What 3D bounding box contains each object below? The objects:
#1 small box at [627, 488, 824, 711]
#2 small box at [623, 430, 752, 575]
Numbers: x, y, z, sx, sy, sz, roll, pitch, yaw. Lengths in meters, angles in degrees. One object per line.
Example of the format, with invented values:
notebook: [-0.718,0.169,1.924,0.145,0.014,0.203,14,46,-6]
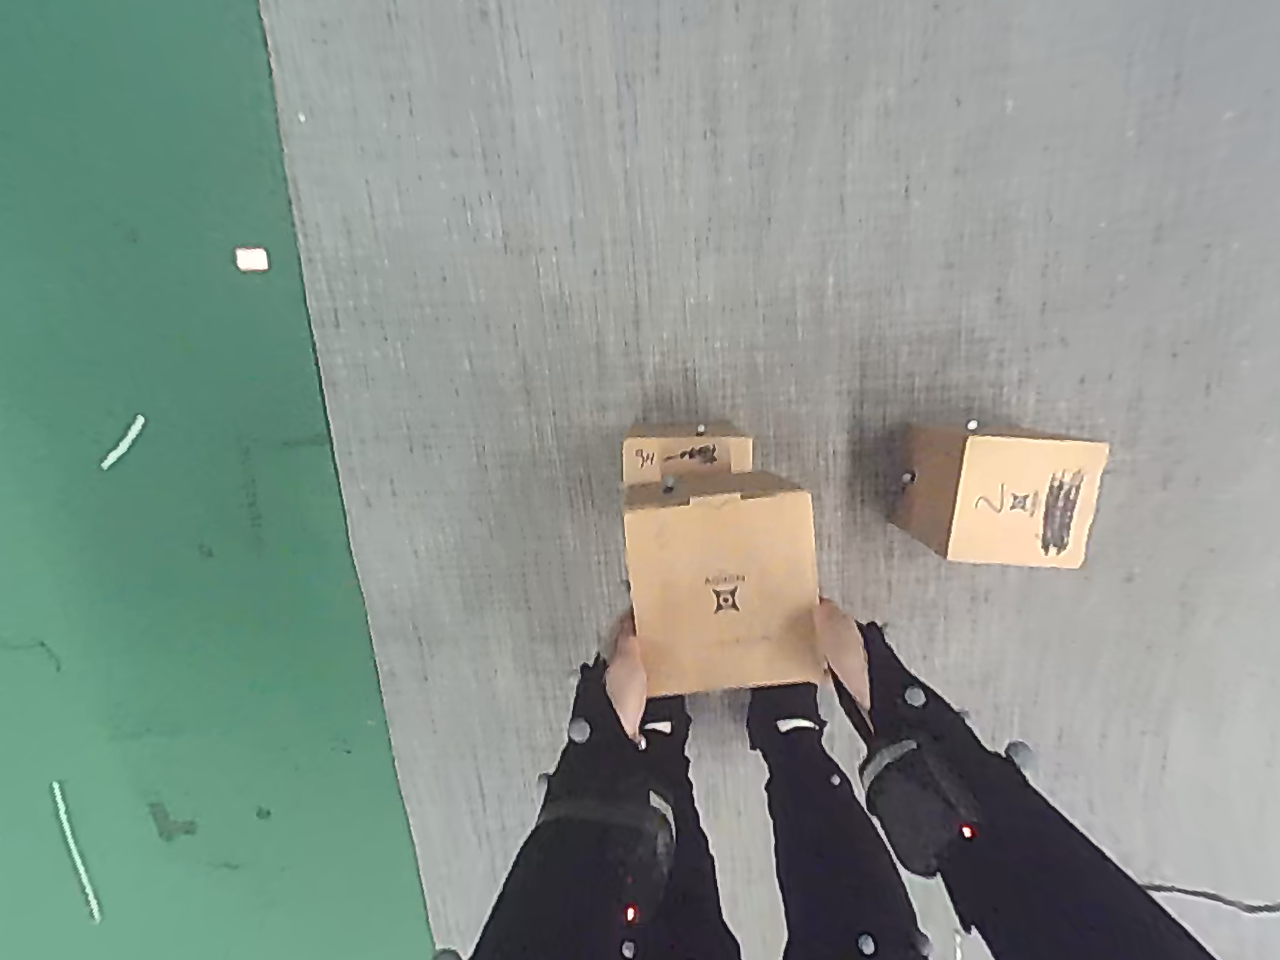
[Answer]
small box: [0.077,0.106,0.557,0.168,0.176,0.179,-7,98,2]
small box: [0.064,0.027,0.779,0.168,0.176,0.179,0,102,2]
